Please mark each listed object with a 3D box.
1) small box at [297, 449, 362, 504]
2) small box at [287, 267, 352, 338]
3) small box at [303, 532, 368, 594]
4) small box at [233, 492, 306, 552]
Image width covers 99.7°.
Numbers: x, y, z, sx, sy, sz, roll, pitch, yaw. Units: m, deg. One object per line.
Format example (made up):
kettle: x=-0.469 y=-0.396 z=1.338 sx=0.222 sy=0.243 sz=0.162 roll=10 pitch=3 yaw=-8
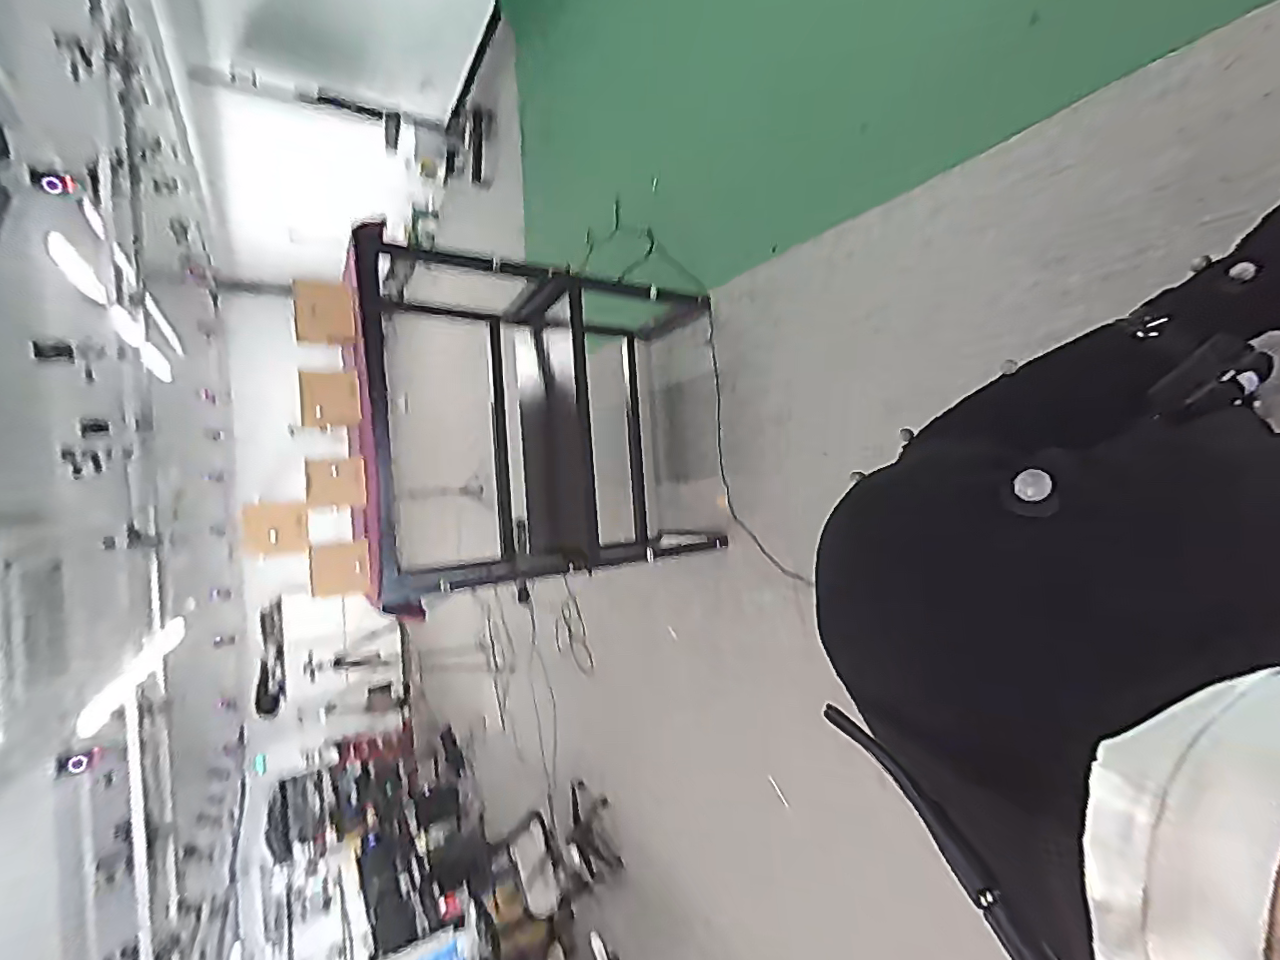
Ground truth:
small box: x=-0.996 y=-0.013 z=1.740 sx=0.179 sy=0.176 sz=0.168 roll=-2 pitch=91 yaw=58
small box: x=-1.034 y=-0.565 z=1.748 sx=0.168 sy=0.176 sz=0.179 roll=-4 pitch=89 yaw=58
small box: x=-0.977 y=0.259 z=1.730 sx=0.168 sy=0.176 sz=0.179 roll=-9 pitch=84 yaw=57
small box: x=-1.127 y=0.124 z=1.653 sx=0.179 sy=0.176 sz=0.168 roll=-5 pitch=88 yaw=58
